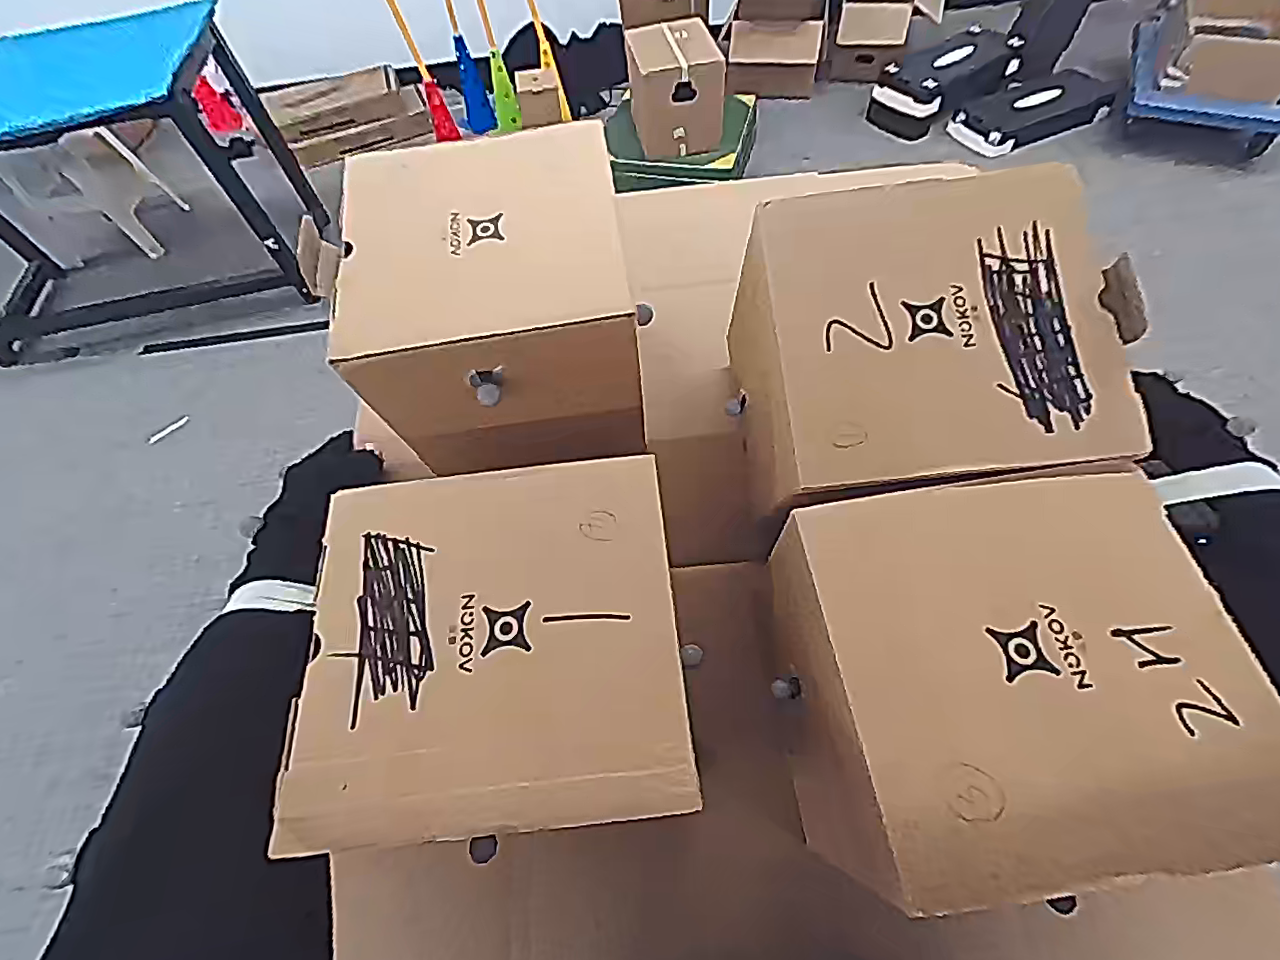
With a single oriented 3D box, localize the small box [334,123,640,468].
[{"bbox_3d":[-0.097,-0.125,0.414,0.179,0.176,0.168,-10,67,1],"label":"small box"}]
